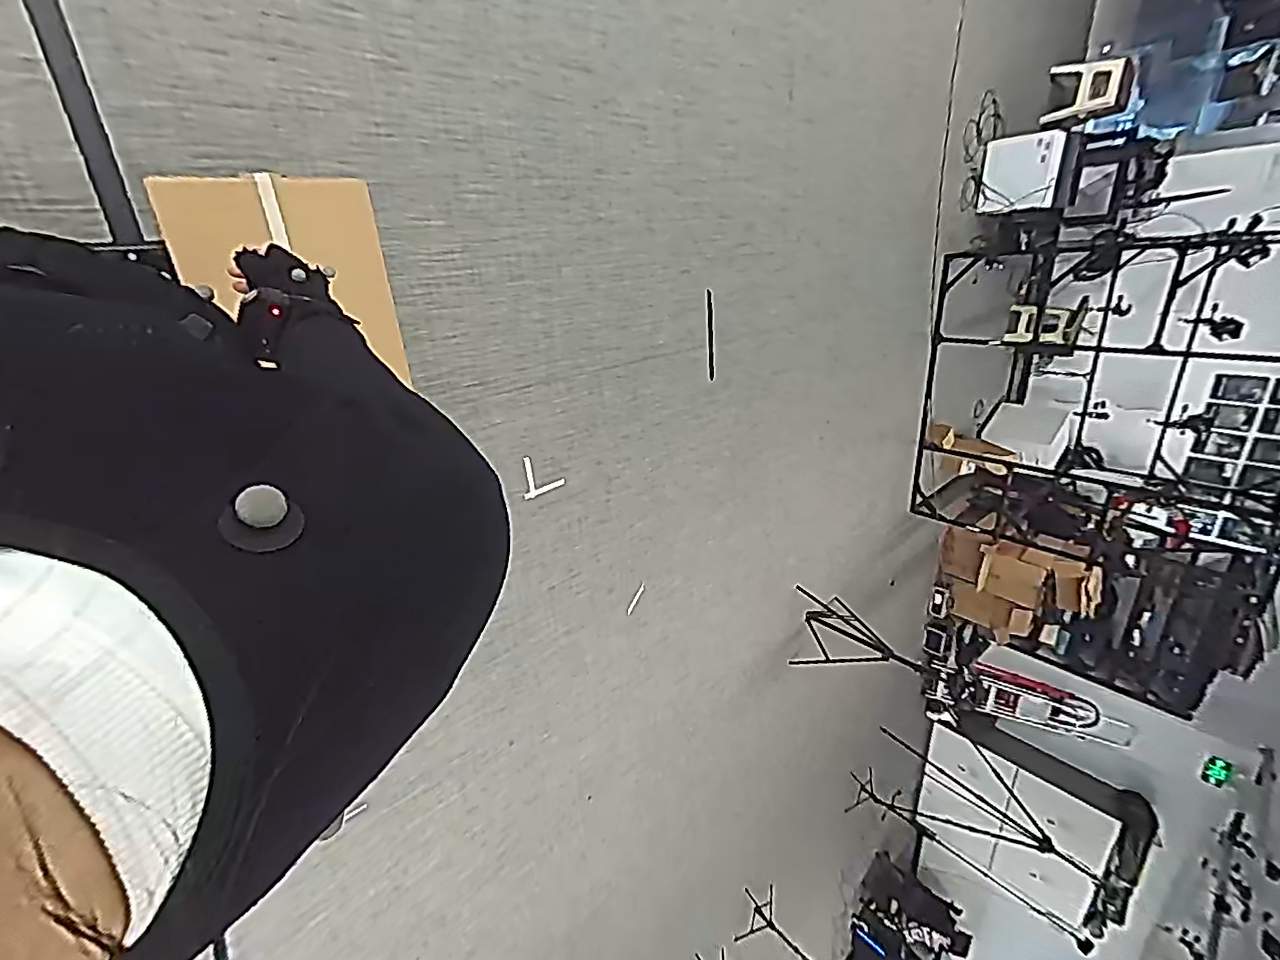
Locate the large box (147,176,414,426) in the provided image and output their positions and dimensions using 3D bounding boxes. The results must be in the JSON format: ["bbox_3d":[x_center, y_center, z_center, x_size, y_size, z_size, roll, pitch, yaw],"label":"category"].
[{"bbox_3d":[-0.690,-0.363,1.077,0.320,0.320,0.408,-18,118,-30],"label":"large box"}]
